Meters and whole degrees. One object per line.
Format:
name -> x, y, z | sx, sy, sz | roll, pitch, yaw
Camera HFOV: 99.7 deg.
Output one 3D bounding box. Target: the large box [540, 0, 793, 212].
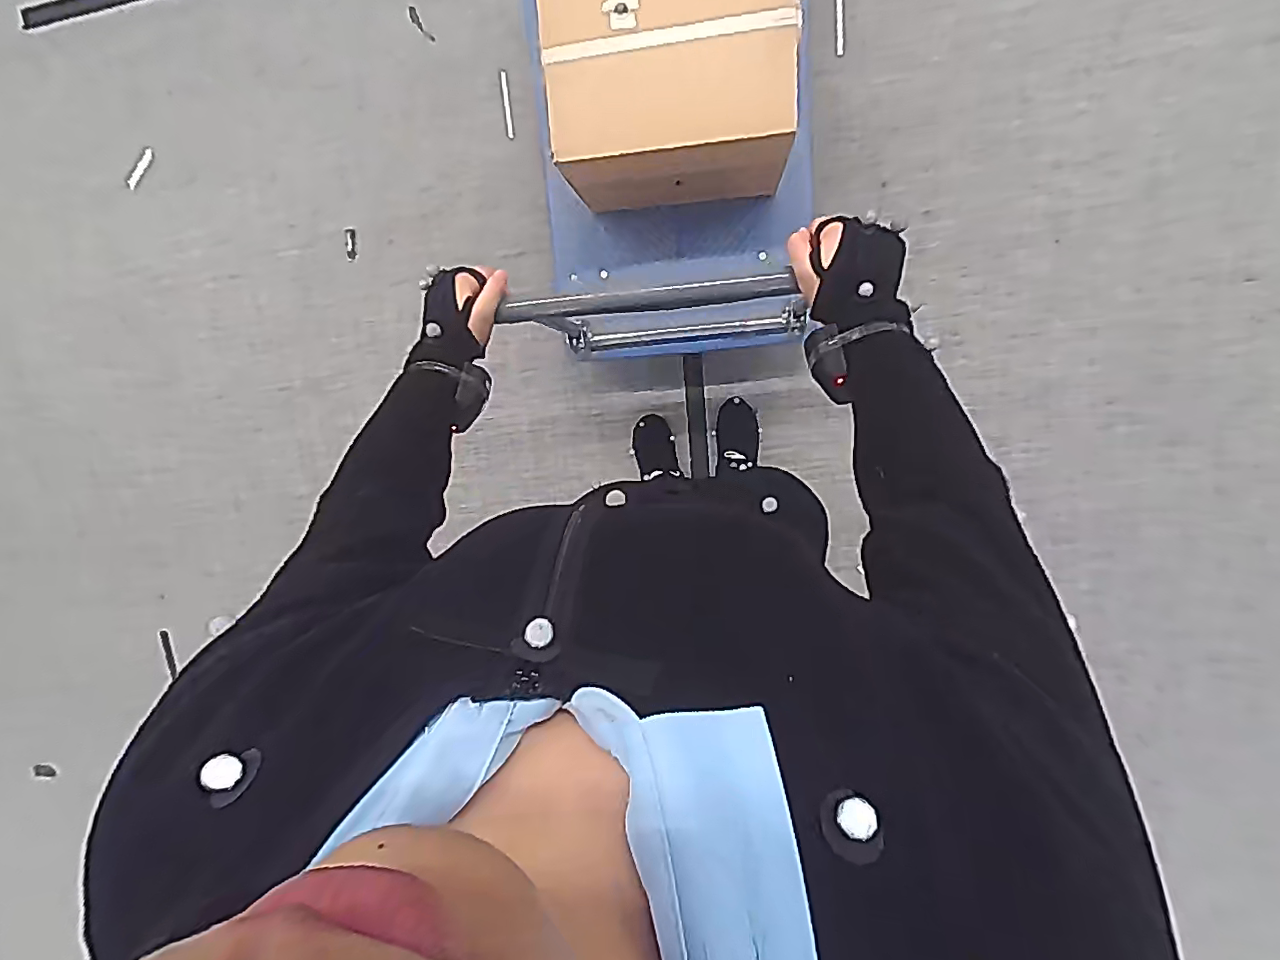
large box -> 0.062, -0.729, 1.016 | 0.408, 0.320, 0.320 | -2, 100, 9
